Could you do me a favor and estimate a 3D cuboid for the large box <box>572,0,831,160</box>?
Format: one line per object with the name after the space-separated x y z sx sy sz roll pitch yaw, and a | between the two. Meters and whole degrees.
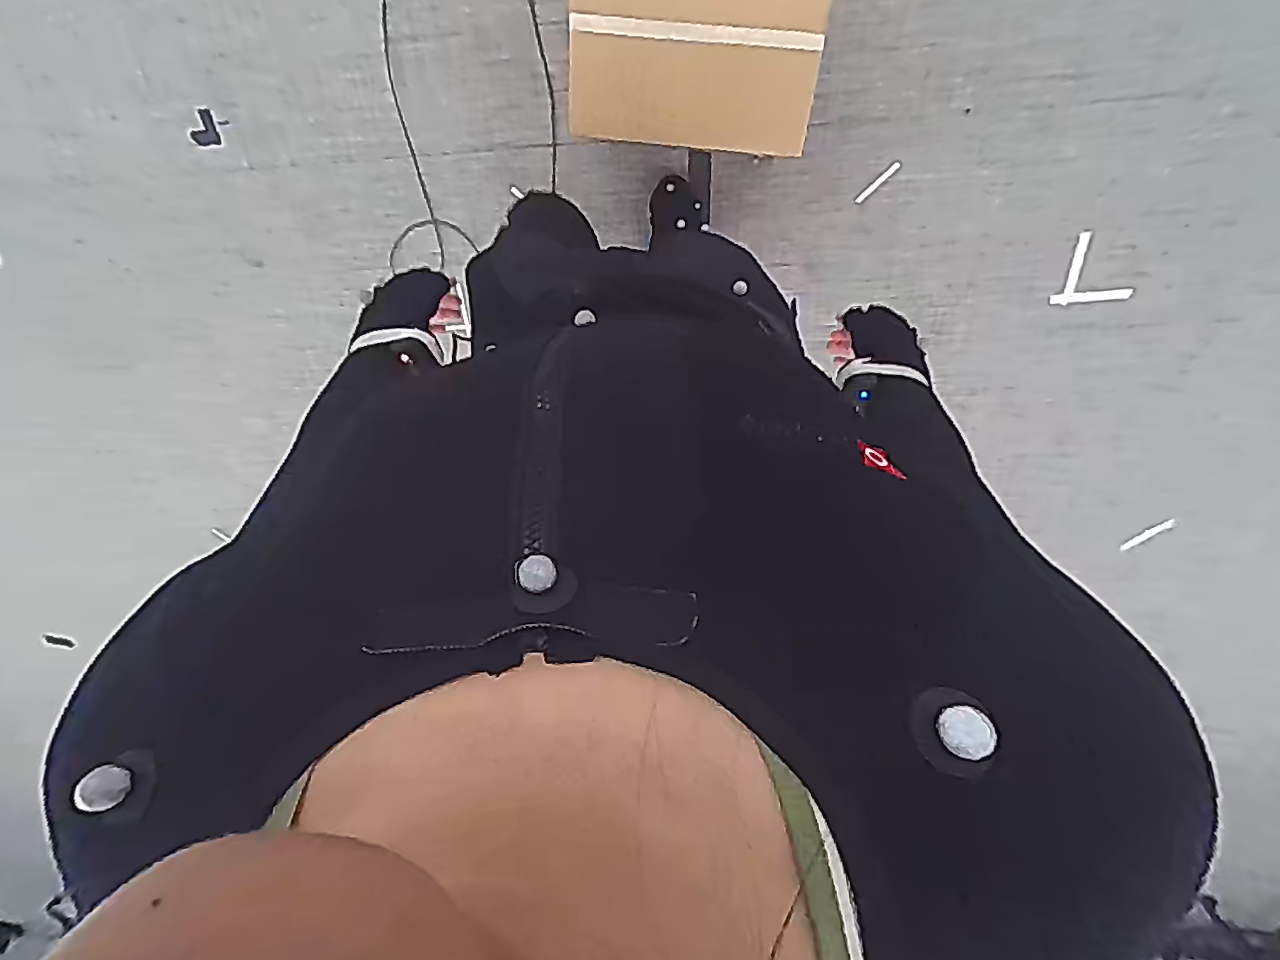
0.101 -0.778 0.980 0.408 0.320 0.320 6 121 1 | large box
